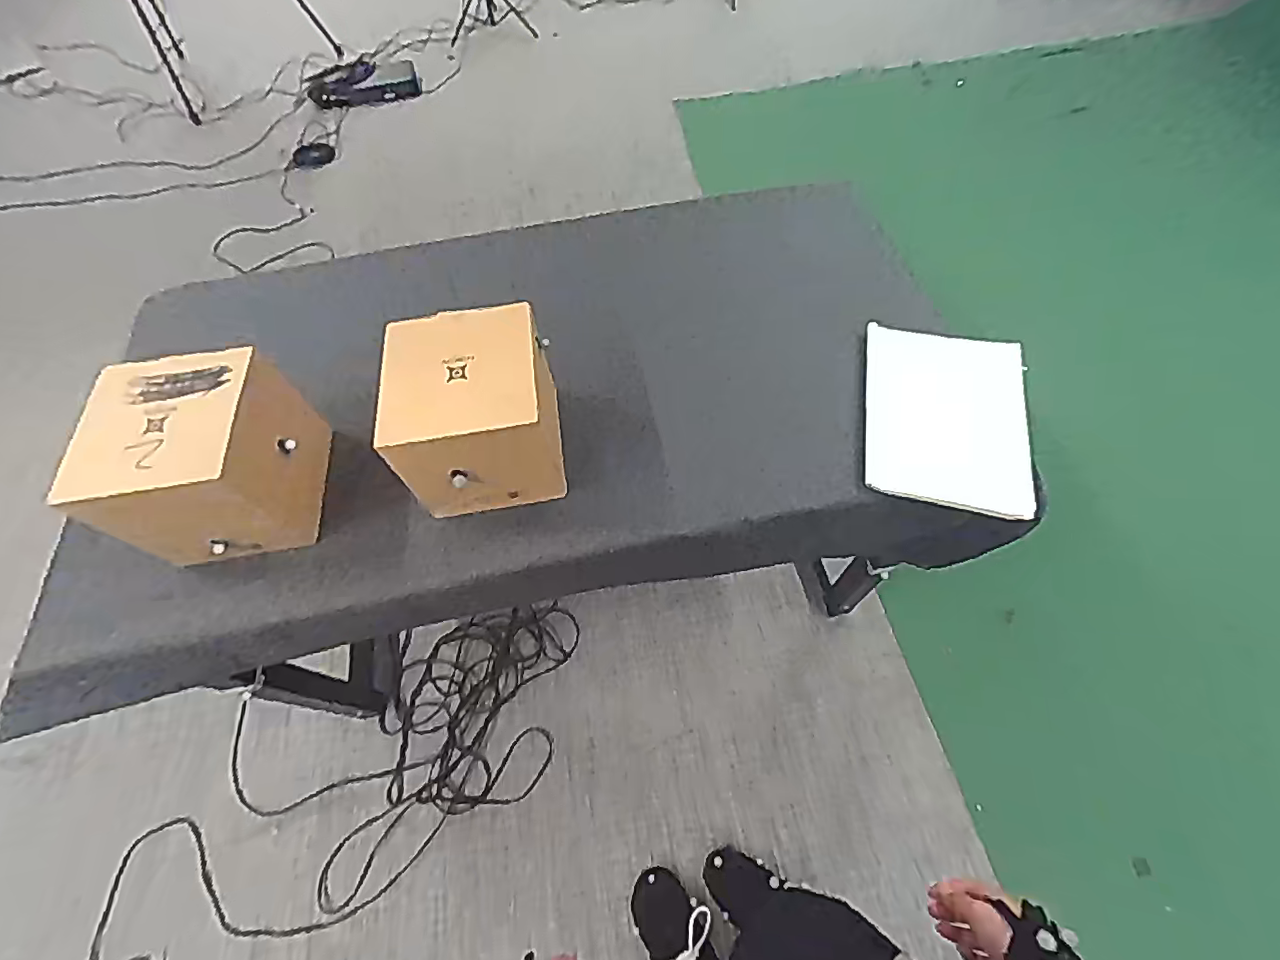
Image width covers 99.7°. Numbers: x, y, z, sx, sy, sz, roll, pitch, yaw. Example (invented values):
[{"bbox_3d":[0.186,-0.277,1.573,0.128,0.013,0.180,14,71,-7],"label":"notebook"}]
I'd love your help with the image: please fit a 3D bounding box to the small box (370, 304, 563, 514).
[{"bbox_3d":[-0.190,-0.073,0.636,0.168,0.176,0.179,-9,59,-2],"label":"small box"}]
